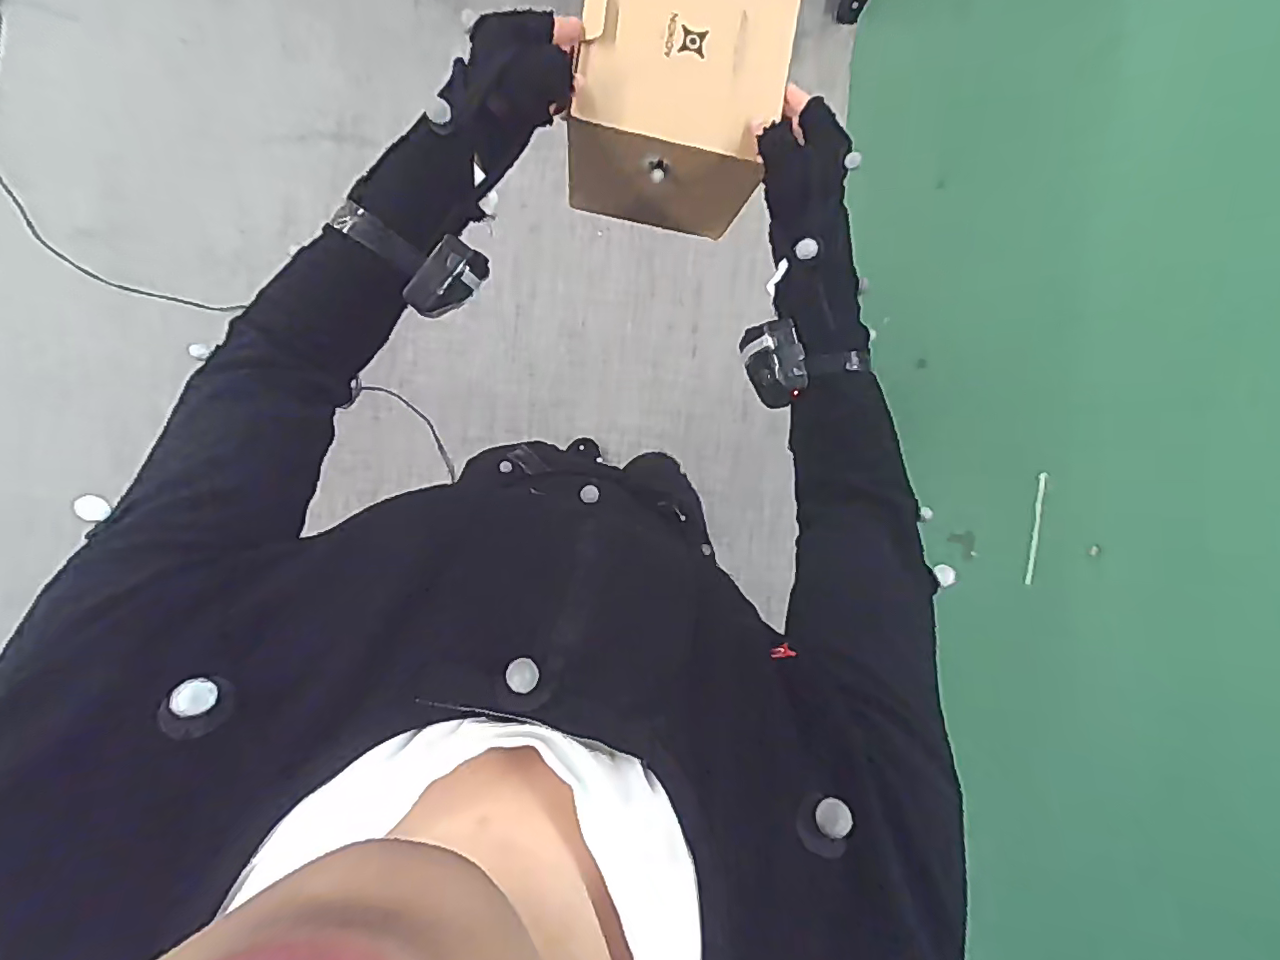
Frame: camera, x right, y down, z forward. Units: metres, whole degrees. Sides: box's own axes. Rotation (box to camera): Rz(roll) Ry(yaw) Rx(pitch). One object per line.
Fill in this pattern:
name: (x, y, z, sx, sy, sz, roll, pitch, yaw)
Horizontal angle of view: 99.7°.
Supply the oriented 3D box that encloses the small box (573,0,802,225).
small box: (0.032, -0.370, 0.519, 0.179, 0.176, 0.168, 8, 93, -9)
